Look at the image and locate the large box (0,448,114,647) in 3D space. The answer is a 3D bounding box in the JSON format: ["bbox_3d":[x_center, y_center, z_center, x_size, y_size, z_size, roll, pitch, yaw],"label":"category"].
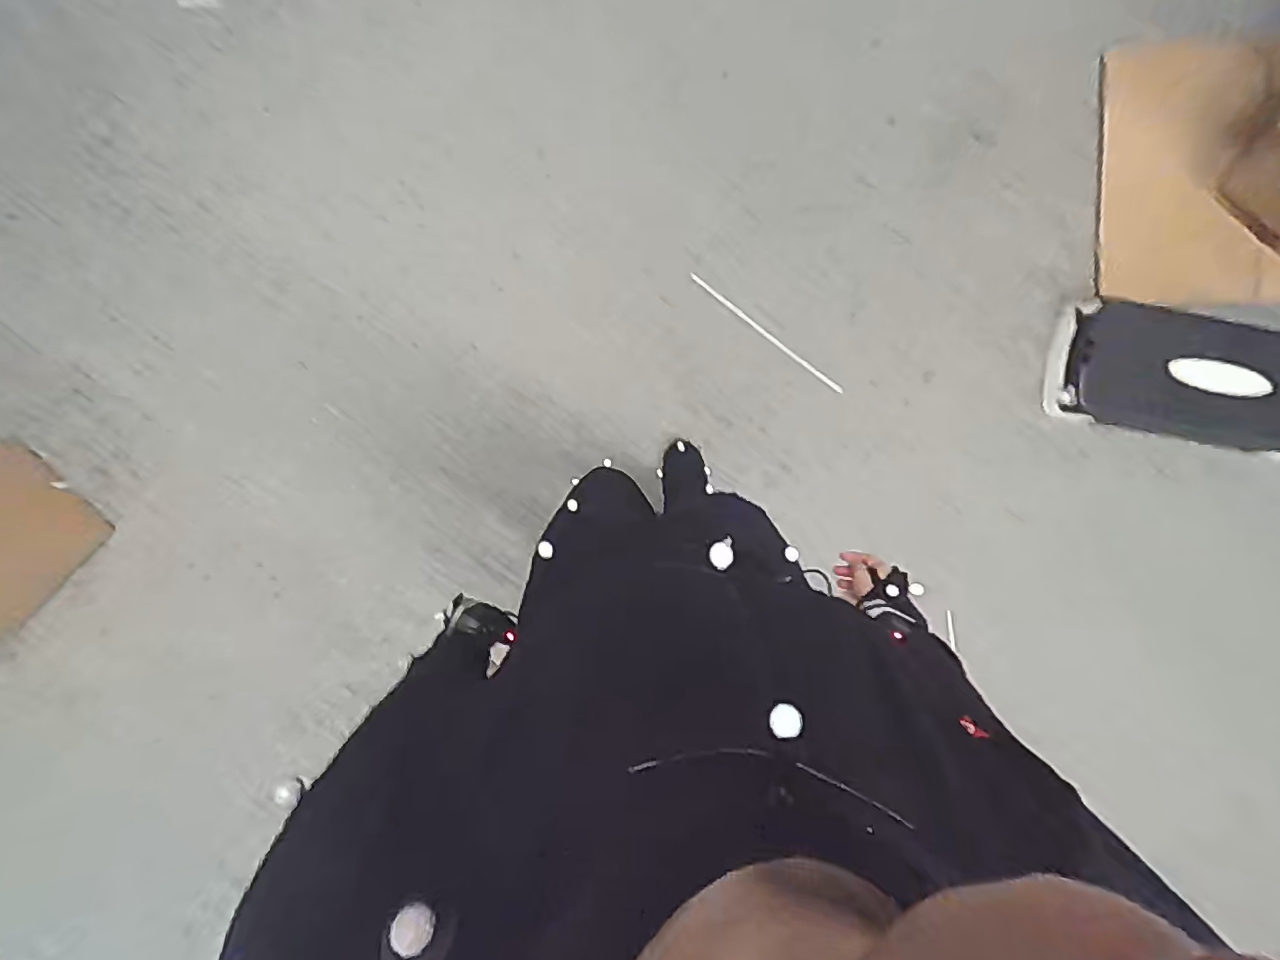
[{"bbox_3d":[-1.545,0.170,1.198,0.320,0.320,0.408,44,90,-3],"label":"large box"}]
